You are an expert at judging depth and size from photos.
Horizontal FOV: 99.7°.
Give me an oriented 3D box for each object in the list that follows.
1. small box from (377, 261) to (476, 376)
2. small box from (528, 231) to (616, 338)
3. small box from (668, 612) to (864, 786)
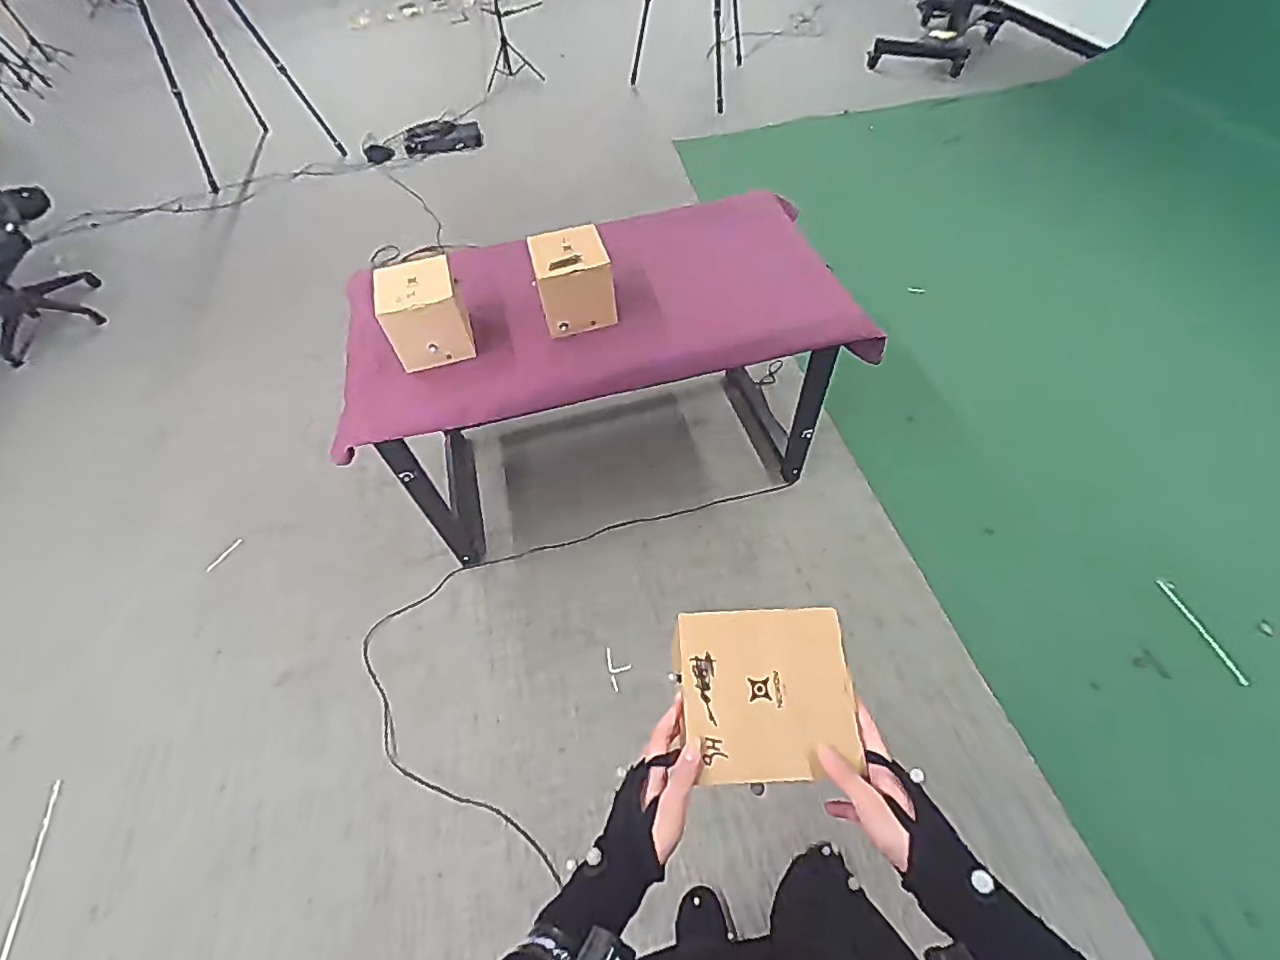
[{"bbox_3d":[-0.492,-0.373,1.256,0.168,0.176,0.179,-16,55,-7],"label":"small box"},{"bbox_3d":[-0.159,-0.461,1.297,0.168,0.176,0.179,-15,54,-6],"label":"small box"},{"bbox_3d":[0.126,0.253,0.621,0.179,0.176,0.168,-1,62,-1],"label":"small box"}]
